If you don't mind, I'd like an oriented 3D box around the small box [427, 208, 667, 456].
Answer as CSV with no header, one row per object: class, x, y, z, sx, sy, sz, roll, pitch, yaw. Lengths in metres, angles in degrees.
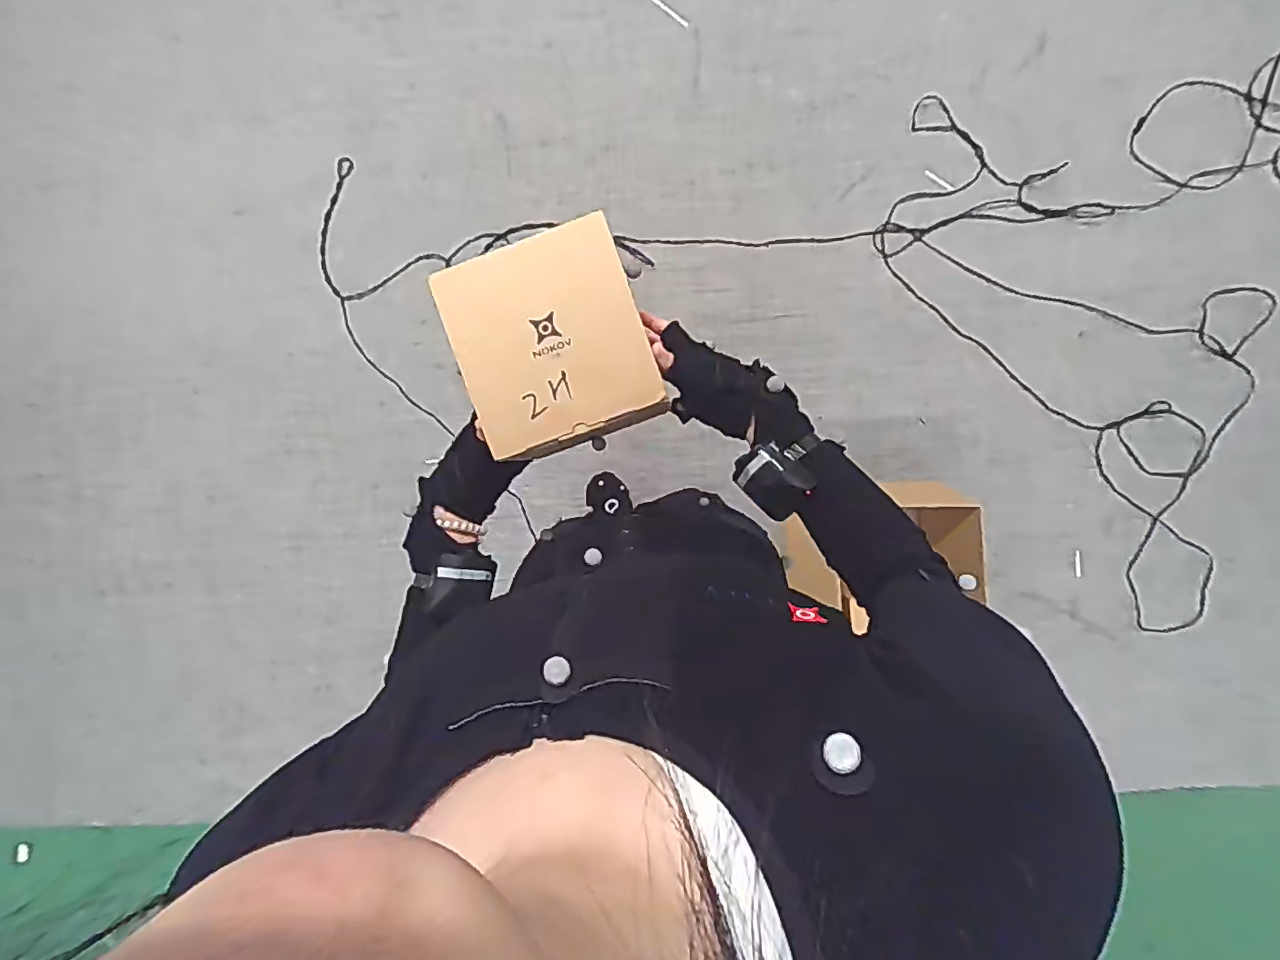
small box,-0.079,-0.129,0.544,0.168,0.176,0.179,-19,93,3
